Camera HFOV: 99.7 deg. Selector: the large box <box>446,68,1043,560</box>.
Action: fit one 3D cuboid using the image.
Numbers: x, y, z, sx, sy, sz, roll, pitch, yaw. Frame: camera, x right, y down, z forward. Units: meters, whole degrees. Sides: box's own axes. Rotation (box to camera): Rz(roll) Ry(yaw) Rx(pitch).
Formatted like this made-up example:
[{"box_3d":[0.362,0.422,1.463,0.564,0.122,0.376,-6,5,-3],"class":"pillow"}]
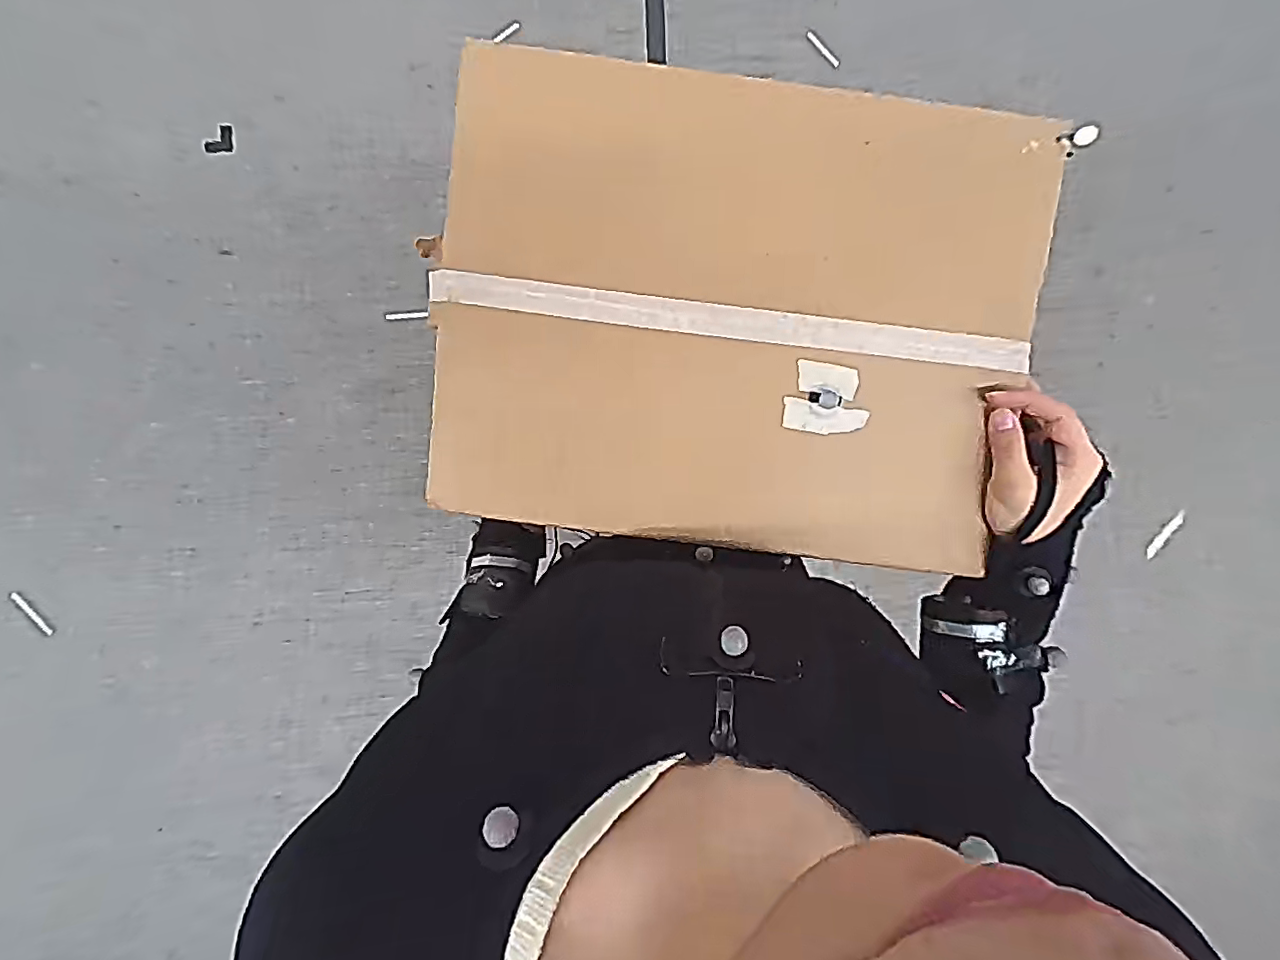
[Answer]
[{"box_3d":[0.064,-0.122,0.528,0.408,0.320,0.320,6,97,-2],"class":"large box"}]
